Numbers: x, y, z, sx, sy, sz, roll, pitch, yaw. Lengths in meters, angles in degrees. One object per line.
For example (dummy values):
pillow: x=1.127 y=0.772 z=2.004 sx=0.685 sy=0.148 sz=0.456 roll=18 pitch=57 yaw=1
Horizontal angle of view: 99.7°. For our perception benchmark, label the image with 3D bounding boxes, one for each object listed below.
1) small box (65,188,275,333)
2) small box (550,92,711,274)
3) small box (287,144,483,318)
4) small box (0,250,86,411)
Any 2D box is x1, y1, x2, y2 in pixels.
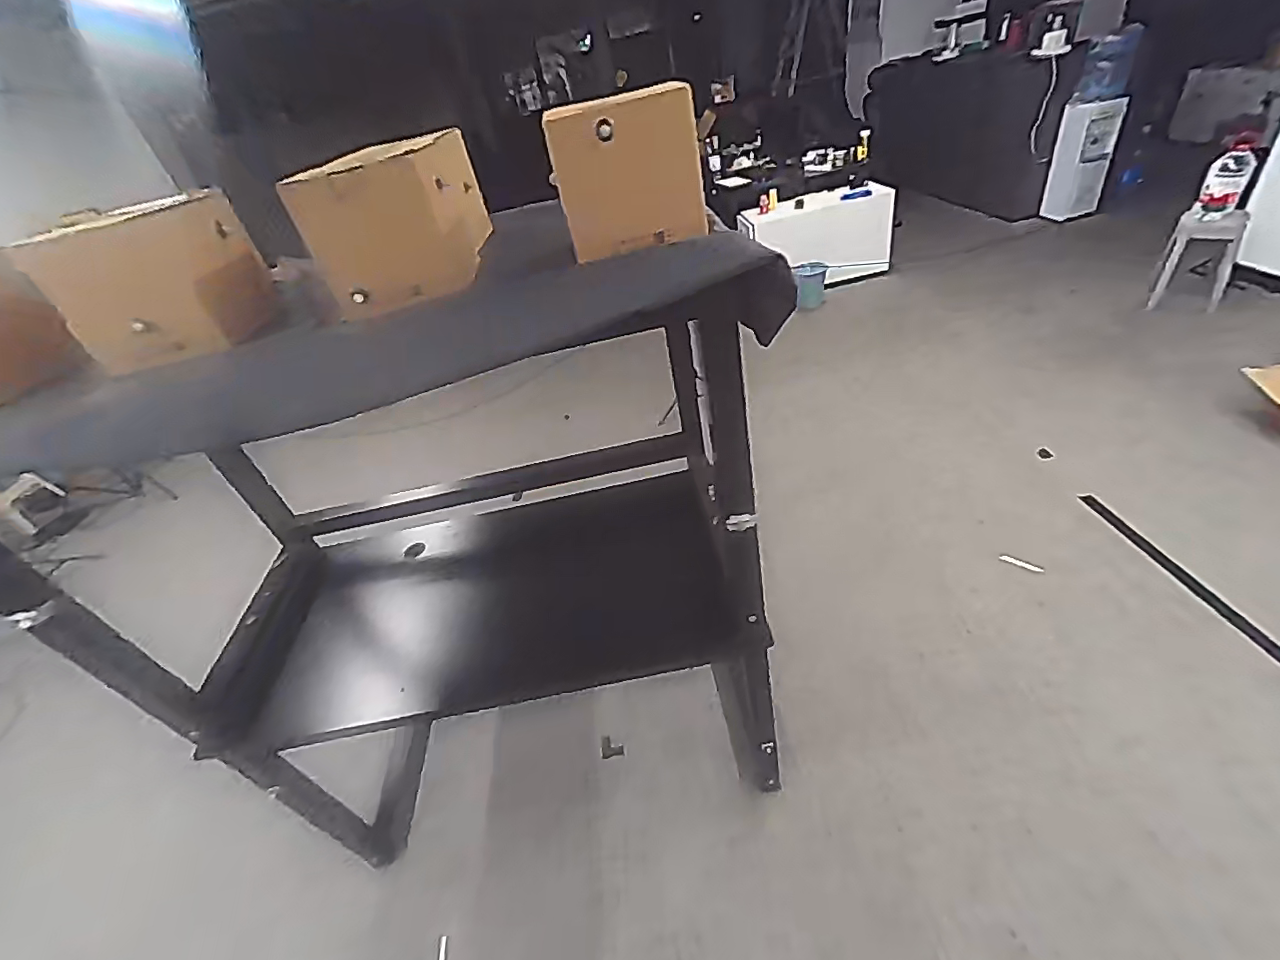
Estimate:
small box: x=-0.768 y=-0.370 z=0.914 sx=0.179 sy=0.176 sz=0.168 roll=-14 pitch=37 yaw=-1
small box: x=-0.011 y=-0.383 z=0.701 sx=0.168 sy=0.176 sz=0.179 roll=-13 pitch=36 yaw=2
small box: x=-0.326 y=-0.335 z=0.736 sx=0.168 sy=0.176 sz=0.179 roll=-13 pitch=37 yaw=0
small box: x=-0.932 y=-0.193 z=0.735 sx=0.168 sy=0.176 sz=0.179 roll=-13 pitch=37 yaw=-1
